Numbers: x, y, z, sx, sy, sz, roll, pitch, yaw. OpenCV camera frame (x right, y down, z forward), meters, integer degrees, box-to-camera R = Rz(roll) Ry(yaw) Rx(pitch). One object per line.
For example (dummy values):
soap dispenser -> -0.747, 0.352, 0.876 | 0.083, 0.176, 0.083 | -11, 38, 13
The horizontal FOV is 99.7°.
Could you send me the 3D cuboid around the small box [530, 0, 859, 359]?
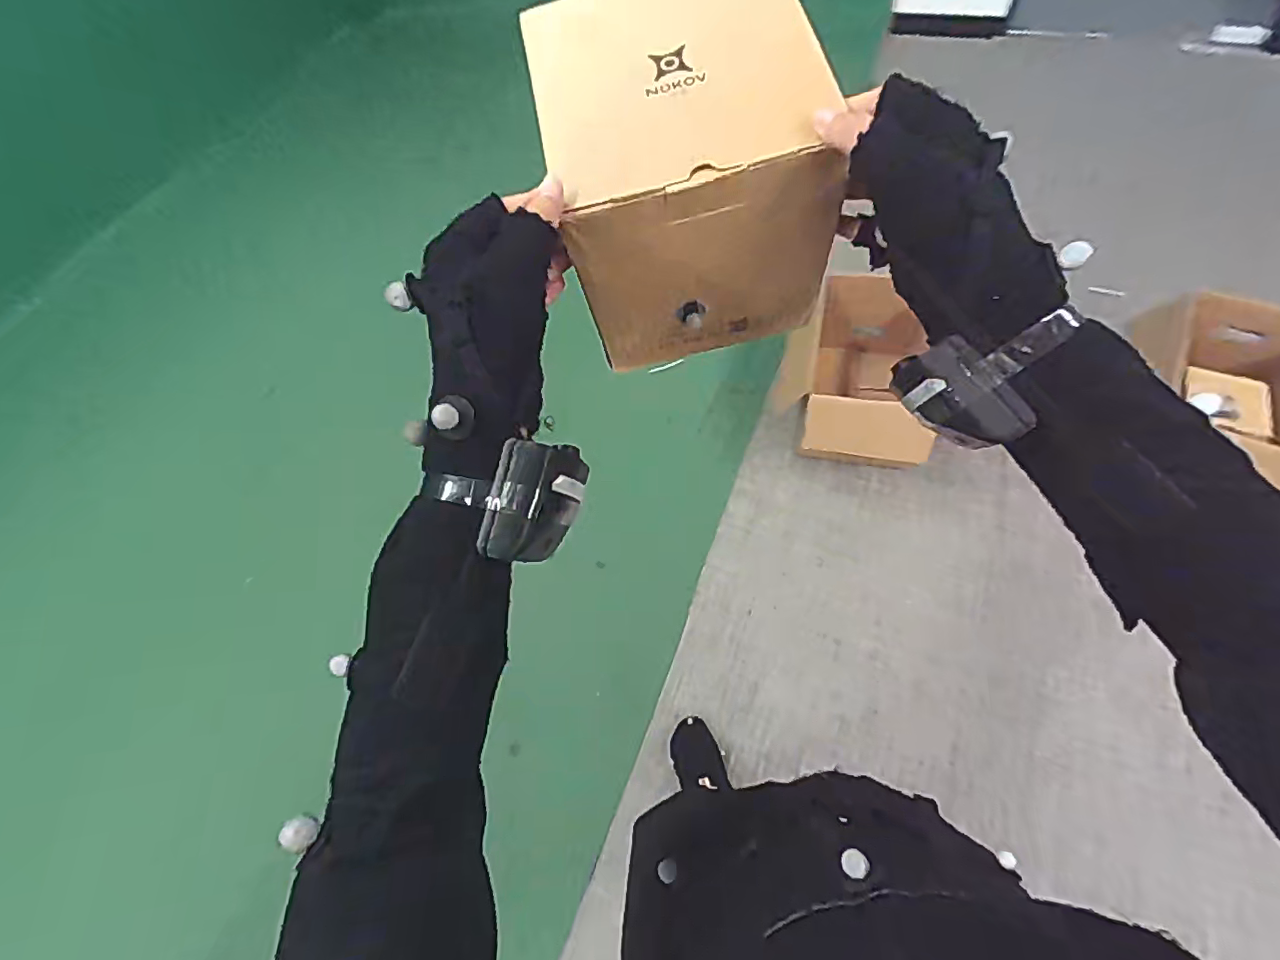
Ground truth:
small box -> 0.033, -0.218, 0.392 | 0.168, 0.176, 0.179 | -14, 71, 5
